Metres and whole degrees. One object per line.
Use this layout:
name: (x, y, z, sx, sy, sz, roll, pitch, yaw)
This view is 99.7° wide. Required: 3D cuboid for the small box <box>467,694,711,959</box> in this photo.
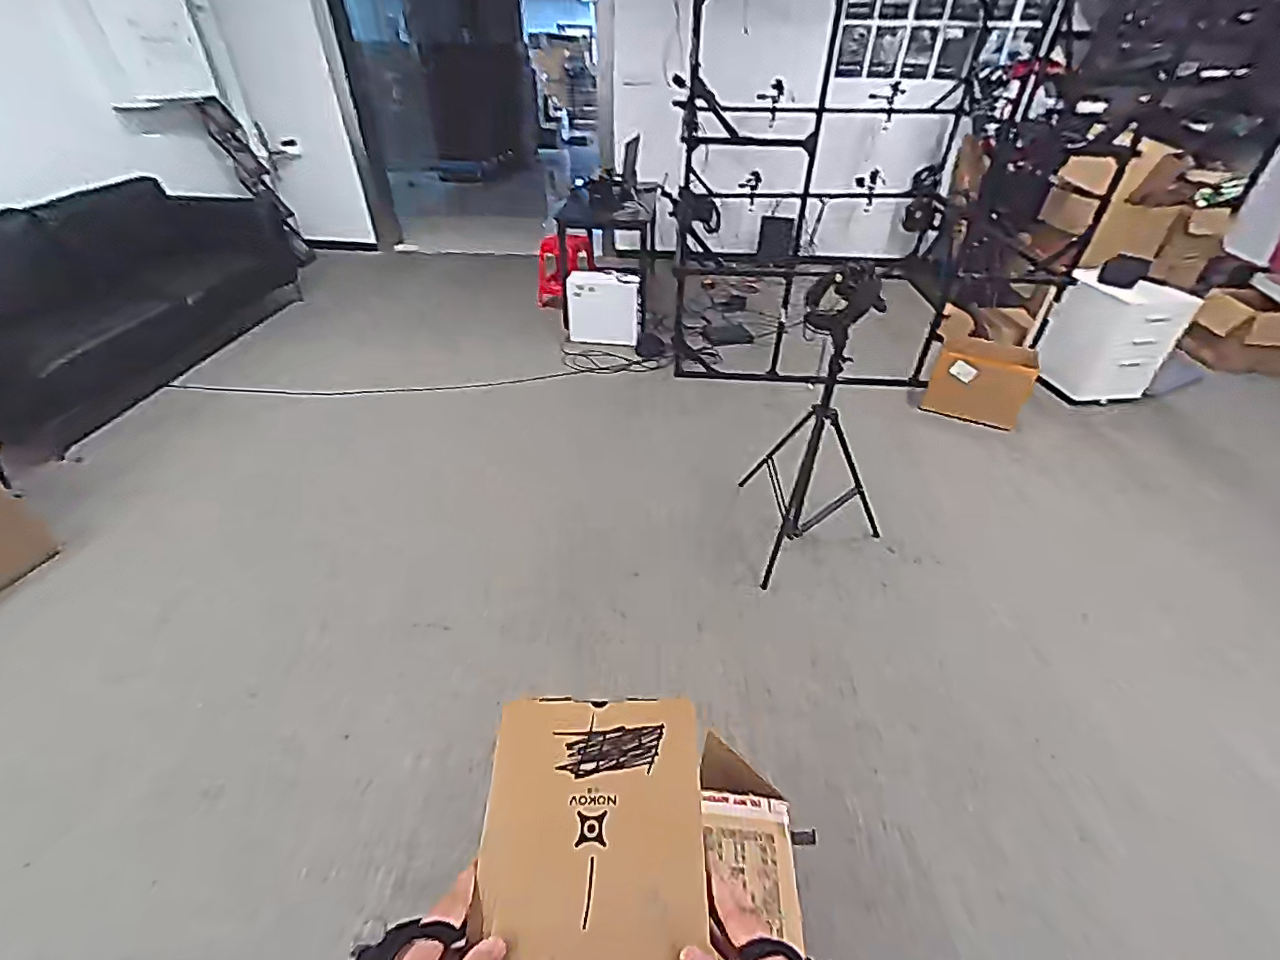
small box: (-0.033, 0.305, 0.471, 0.168, 0.176, 0.179, 0, 48, 1)
